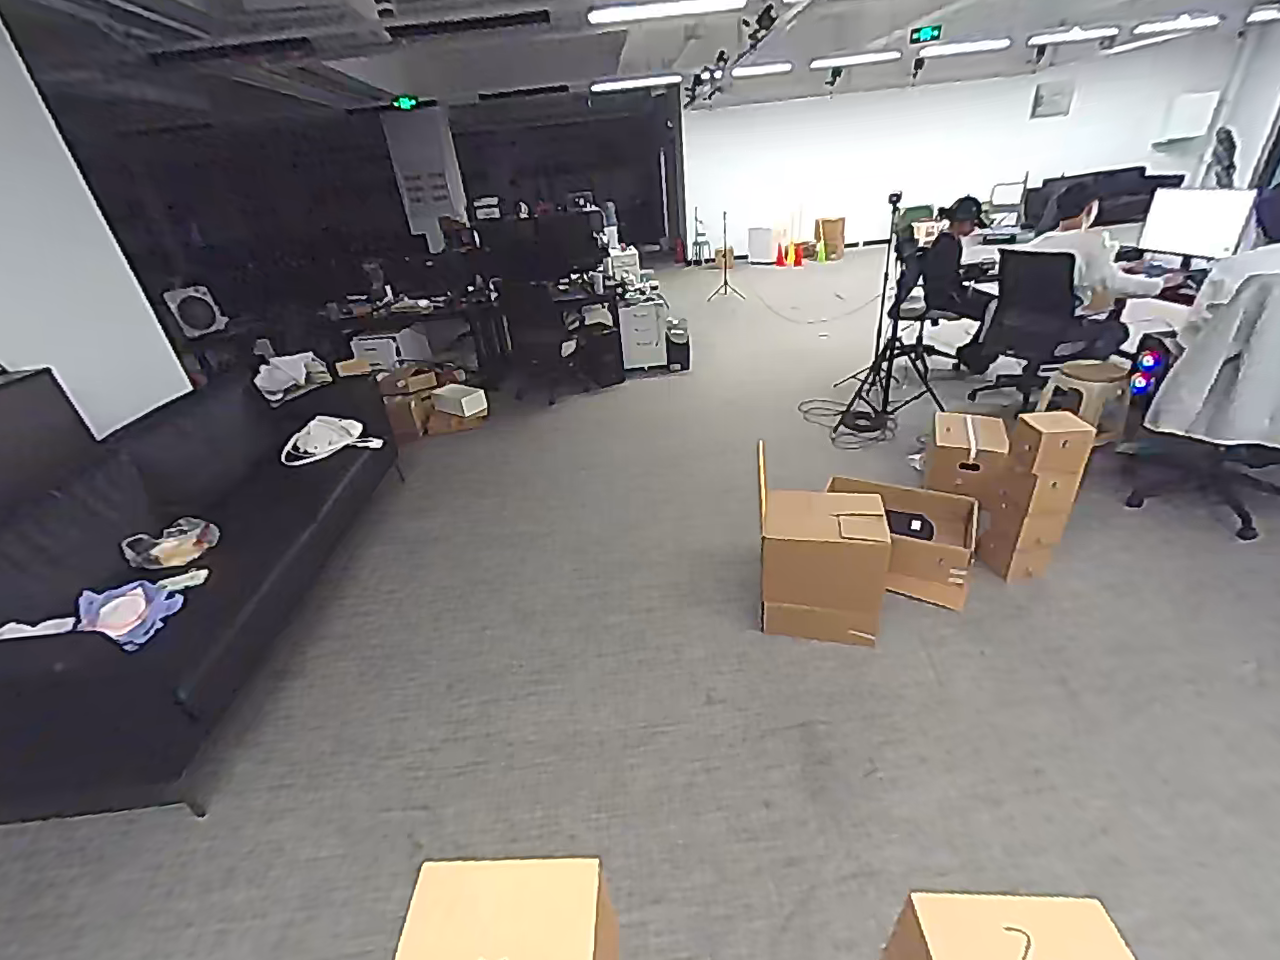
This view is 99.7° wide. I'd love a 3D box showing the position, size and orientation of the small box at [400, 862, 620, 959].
[{"bbox_3d":[-0.109,0.463,0.465,0.168,0.176,0.179,-3,36,4],"label":"small box"}]
